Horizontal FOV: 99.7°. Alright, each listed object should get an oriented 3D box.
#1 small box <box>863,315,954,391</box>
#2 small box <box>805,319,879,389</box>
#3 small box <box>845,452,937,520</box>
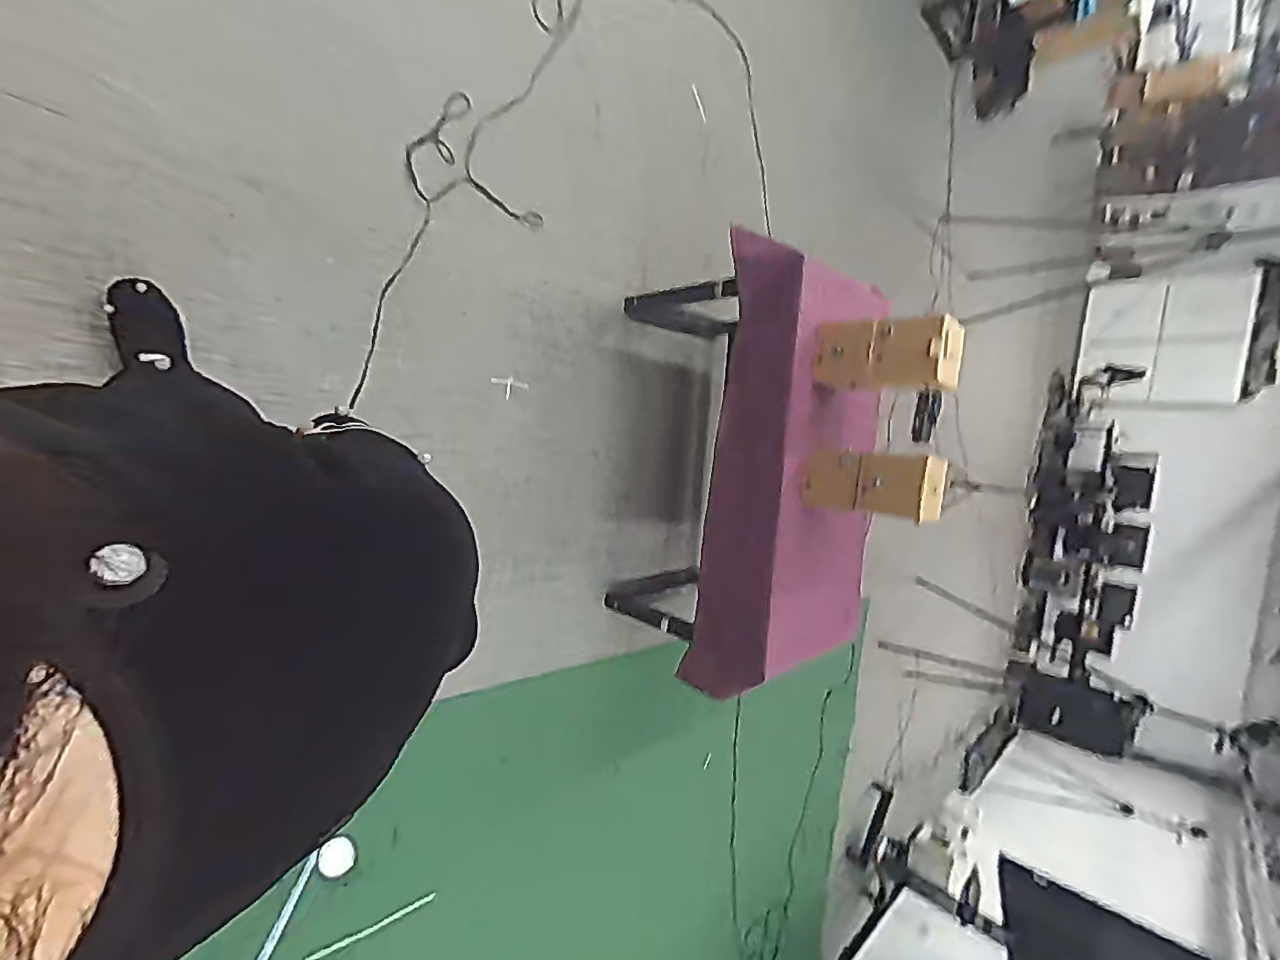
[{"bbox_3d":[0.719,-0.332,1.452,0.179,0.176,0.168,3,96,-47],"label":"small box"},{"bbox_3d":[0.597,-0.357,1.561,0.179,0.176,0.168,2,97,-45],"label":"small box"},{"bbox_3d":[0.689,0.015,1.487,0.179,0.176,0.168,5,94,-46],"label":"small box"}]
